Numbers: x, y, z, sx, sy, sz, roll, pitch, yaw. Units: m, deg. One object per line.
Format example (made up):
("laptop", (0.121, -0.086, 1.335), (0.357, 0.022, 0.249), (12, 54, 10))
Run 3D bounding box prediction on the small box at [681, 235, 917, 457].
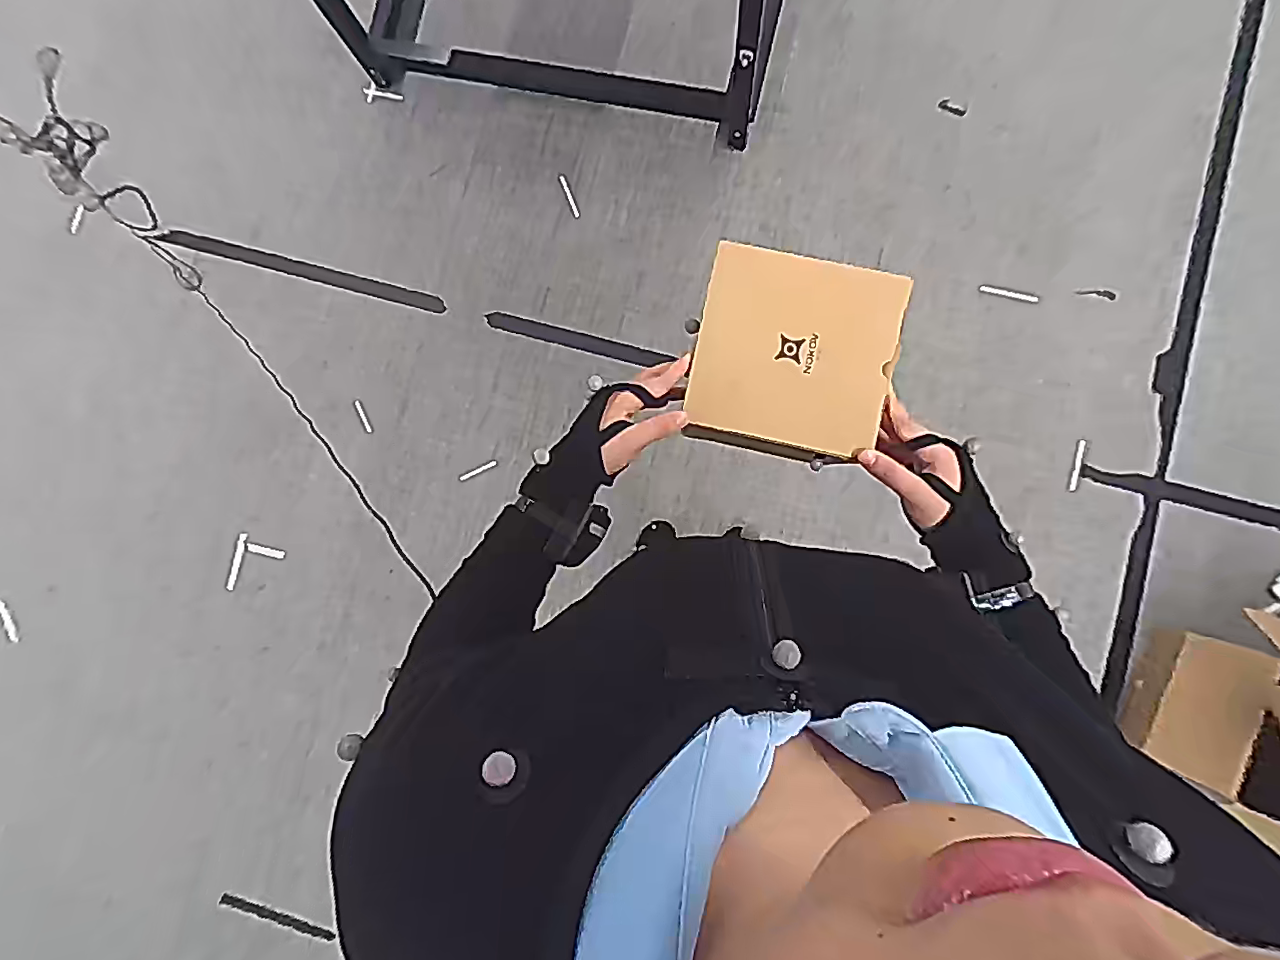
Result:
("small box", (0.142, -0.119, 0.550), (0.179, 0.176, 0.168), (12, 91, 2))
